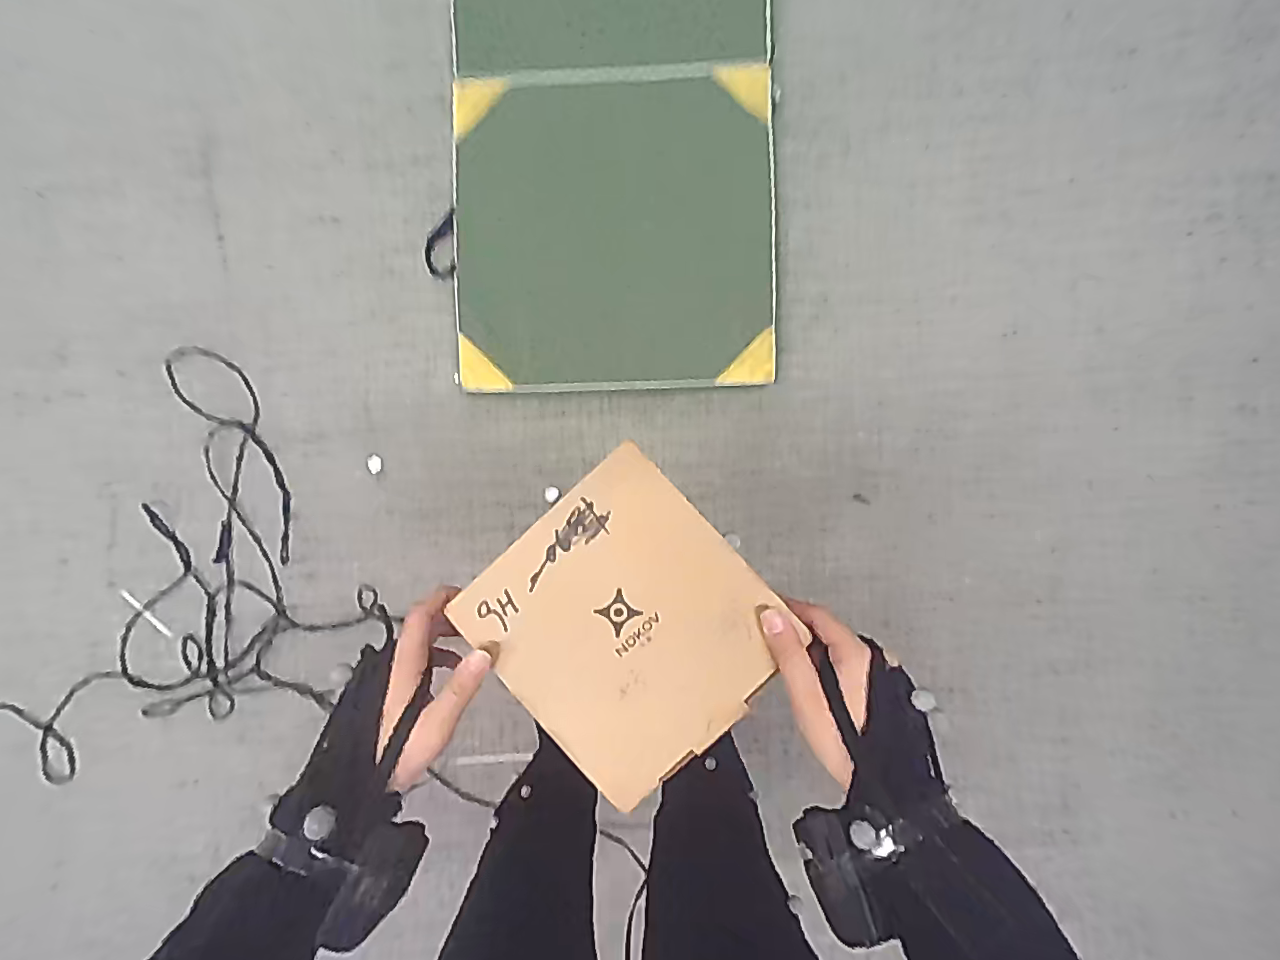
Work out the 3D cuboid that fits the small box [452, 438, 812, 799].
[{"bbox_3d":[-0.004,0.089,0.425,0.168,0.176,0.179,-43,87,-1],"label":"small box"}]
